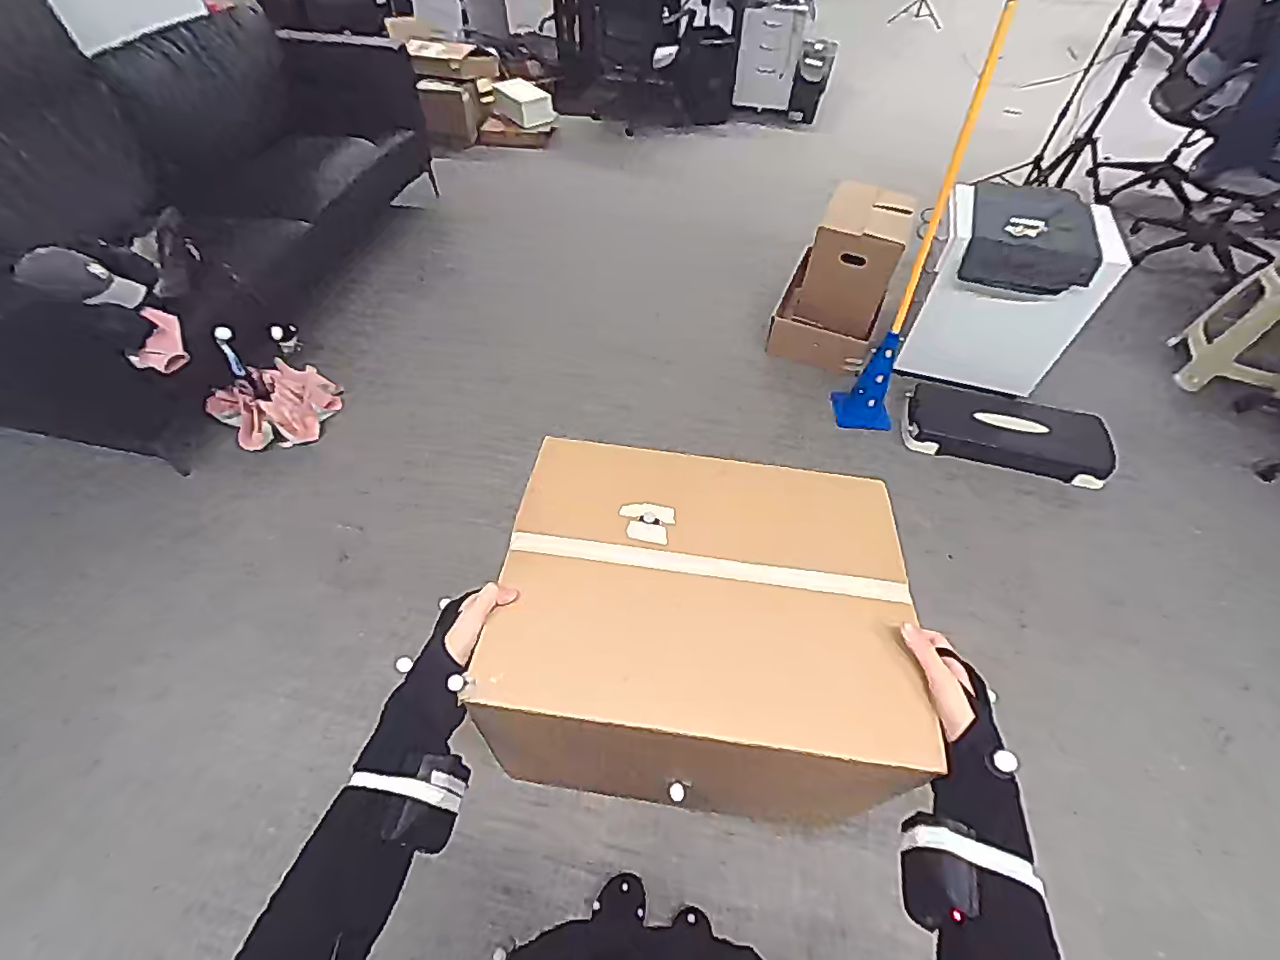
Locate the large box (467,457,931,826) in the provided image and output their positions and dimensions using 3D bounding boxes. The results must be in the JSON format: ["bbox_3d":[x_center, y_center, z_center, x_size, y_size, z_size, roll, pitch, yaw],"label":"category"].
[{"bbox_3d":[0.059,0.204,0.665,0.408,0.320,0.320,7,49,3],"label":"large box"}]
